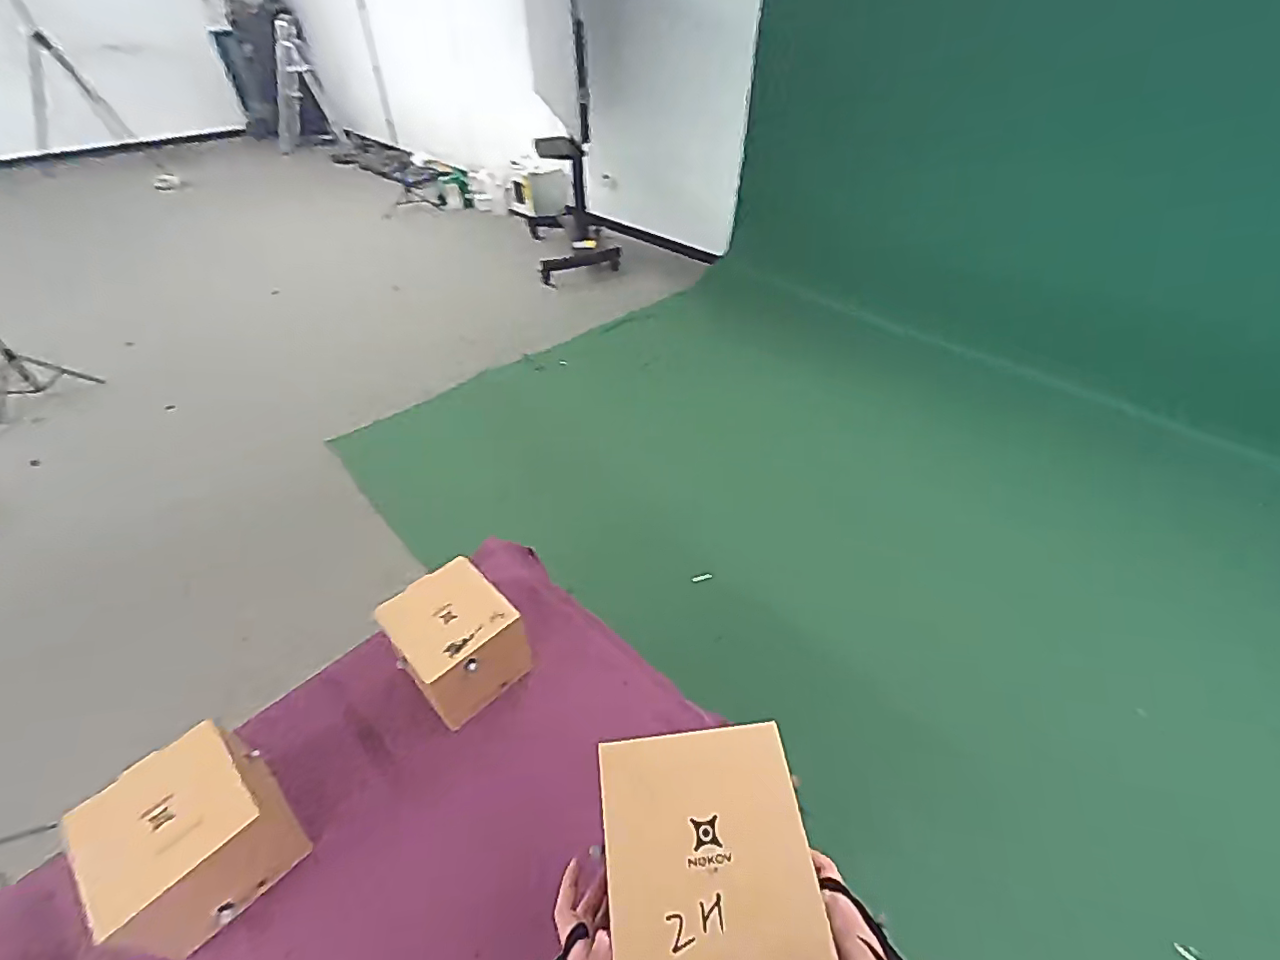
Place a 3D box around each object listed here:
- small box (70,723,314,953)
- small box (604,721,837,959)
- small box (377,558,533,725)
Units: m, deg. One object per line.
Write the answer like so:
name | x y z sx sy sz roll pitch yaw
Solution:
small box | -0.571 0.468 0.707 0.179 0.176 0.168 32 53 29
small box | 0.056 0.344 0.499 0.168 0.176 0.179 -6 51 -2
small box | -0.304 0.273 0.912 0.179 0.176 0.168 34 54 31
